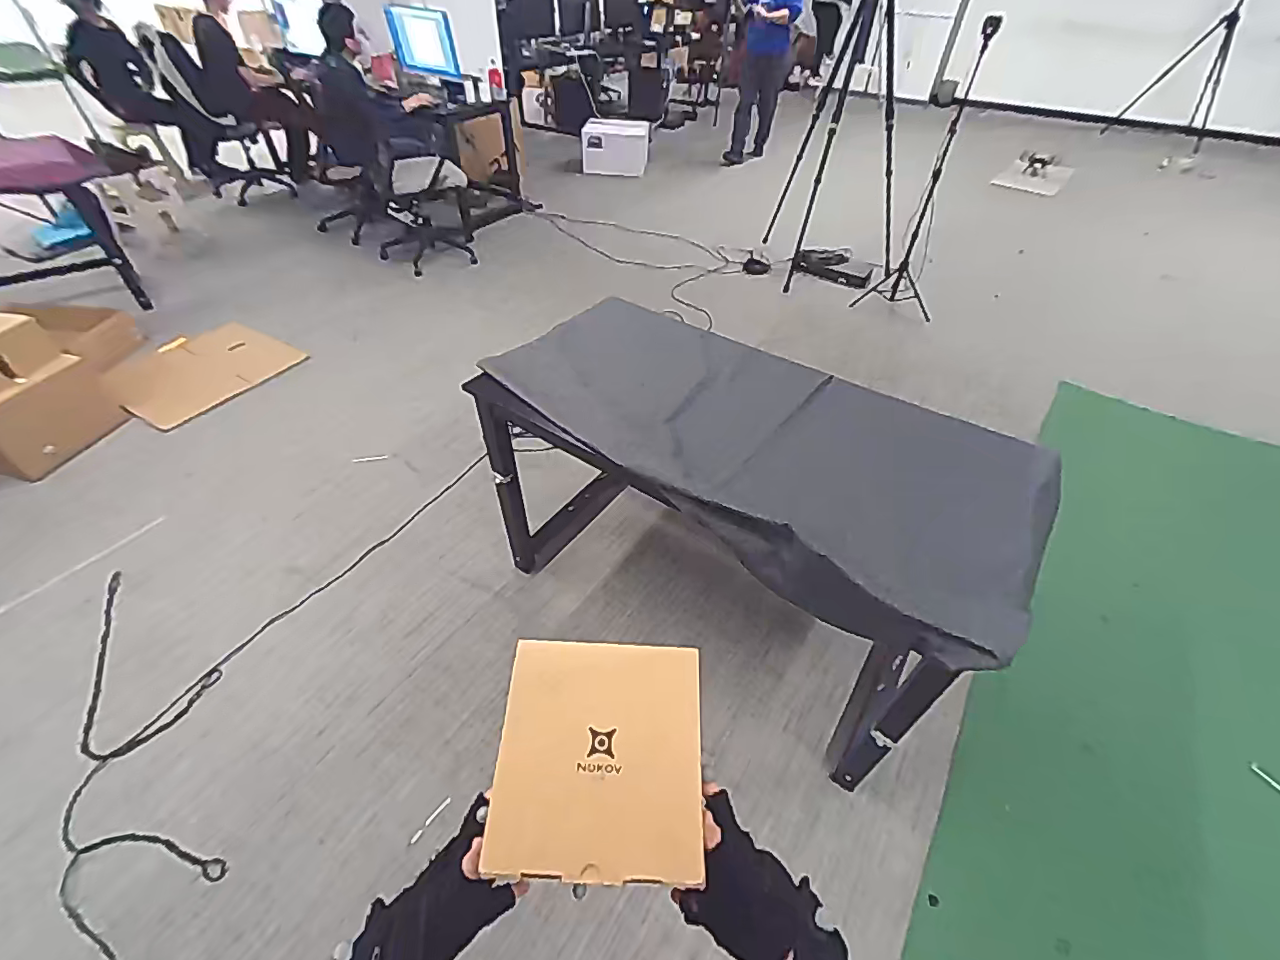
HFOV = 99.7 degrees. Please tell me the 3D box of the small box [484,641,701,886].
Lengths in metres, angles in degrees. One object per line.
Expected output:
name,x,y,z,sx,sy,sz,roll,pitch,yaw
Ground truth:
small box,-0.036,0.271,0.514,0.168,0.176,0.179,4,55,-1
